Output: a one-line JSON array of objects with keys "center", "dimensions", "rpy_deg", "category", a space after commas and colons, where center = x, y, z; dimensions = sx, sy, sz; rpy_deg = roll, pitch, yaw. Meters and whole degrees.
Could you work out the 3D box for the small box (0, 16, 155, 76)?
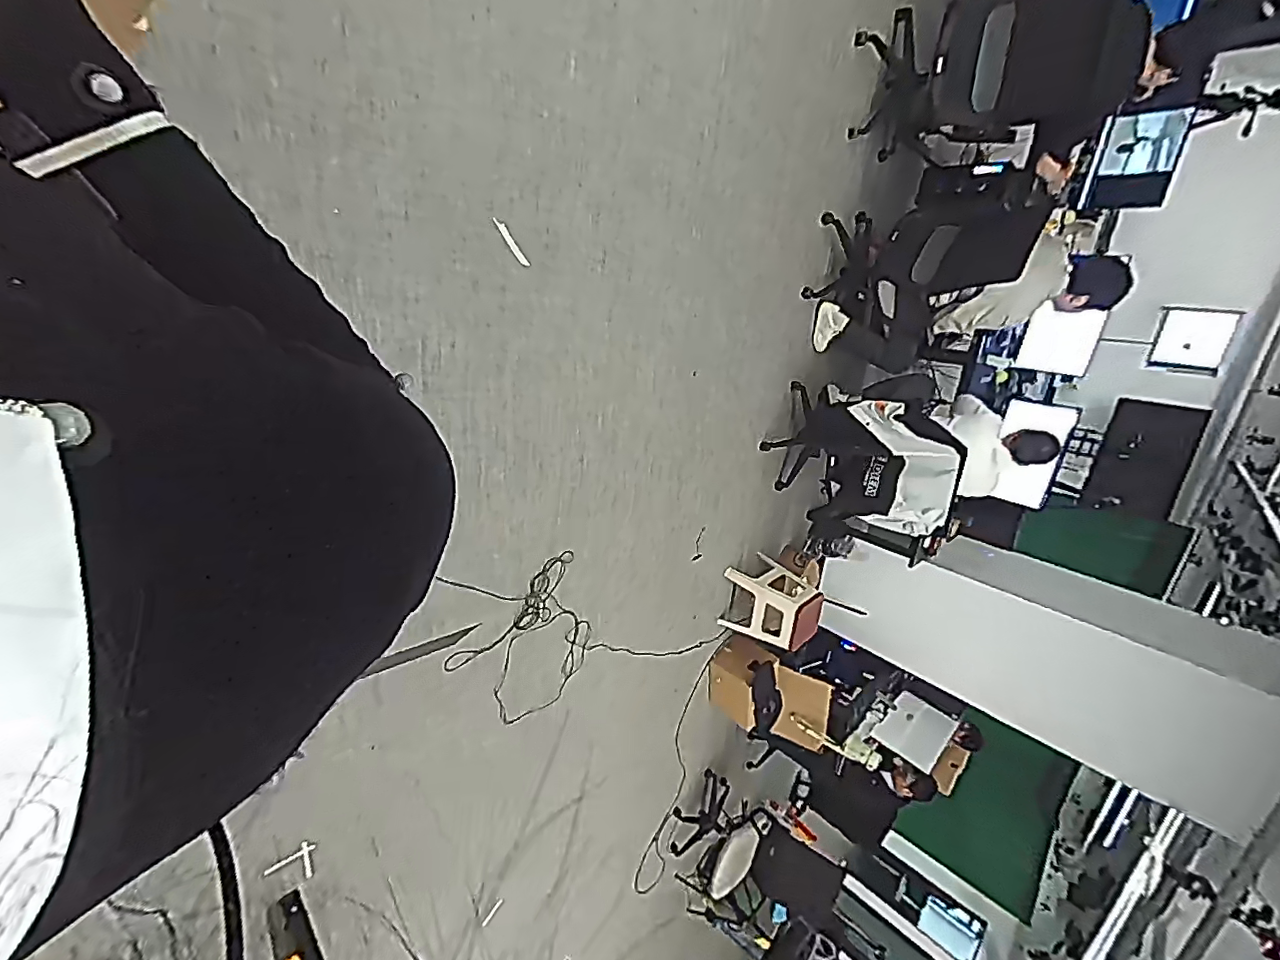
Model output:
[{"center": [-0.636, -0.539, 0.549], "dimensions": [0.179, 0.176, 0.168], "rpy_deg": [-15, 119, -45], "category": "small box"}]
